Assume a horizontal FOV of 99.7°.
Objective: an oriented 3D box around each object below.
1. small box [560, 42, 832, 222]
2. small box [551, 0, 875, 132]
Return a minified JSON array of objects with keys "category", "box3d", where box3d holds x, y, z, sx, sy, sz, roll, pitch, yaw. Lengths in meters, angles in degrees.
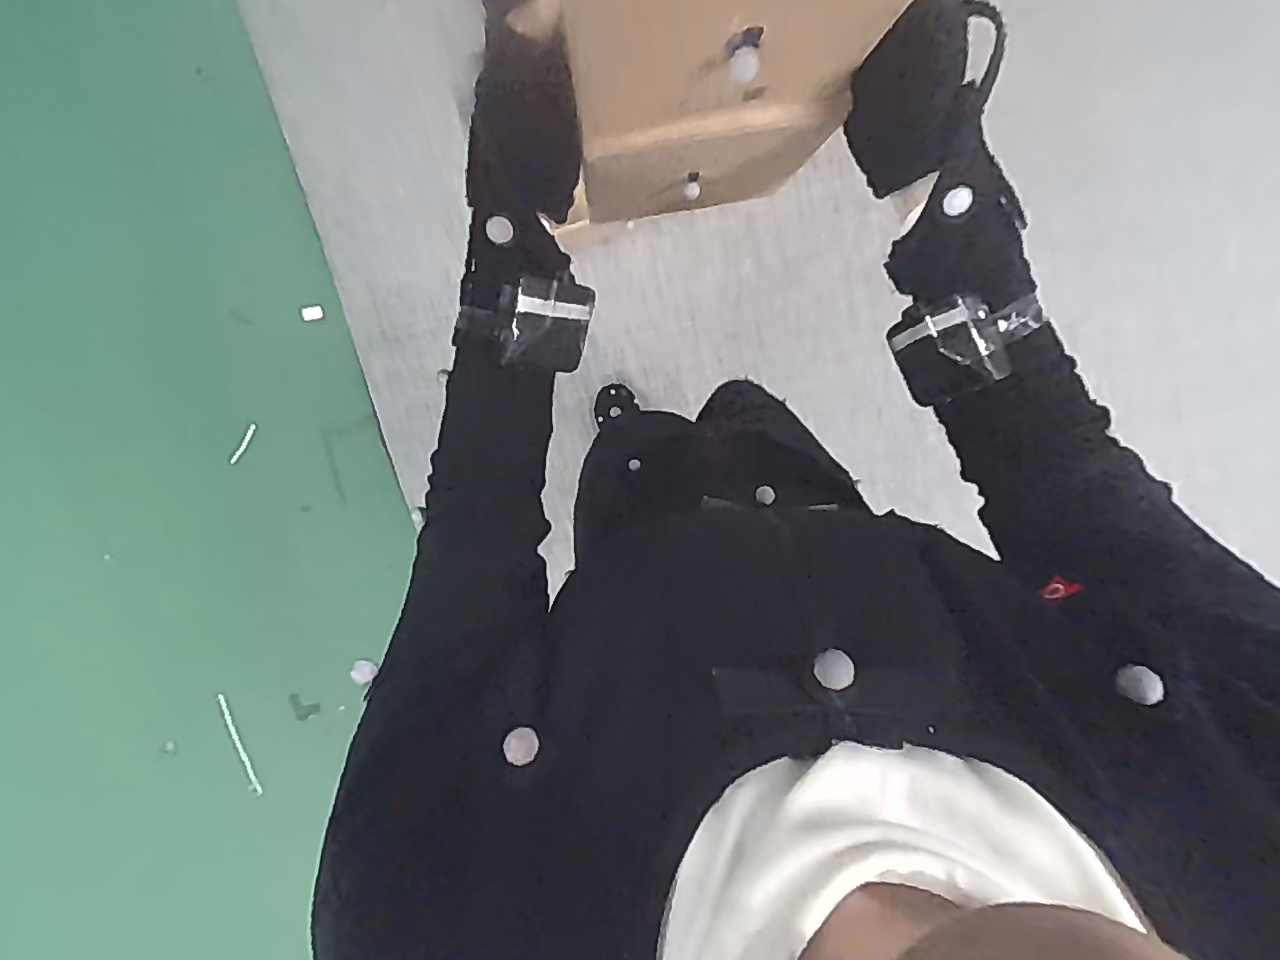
[{"category":"small box","box3d":[0.030,-0.322,0.427,0.179,0.176,0.168,-9,101,-1]},{"category":"small box","box3d":[0.028,-0.304,0.267,0.168,0.176,0.179,-13,101,1]}]
